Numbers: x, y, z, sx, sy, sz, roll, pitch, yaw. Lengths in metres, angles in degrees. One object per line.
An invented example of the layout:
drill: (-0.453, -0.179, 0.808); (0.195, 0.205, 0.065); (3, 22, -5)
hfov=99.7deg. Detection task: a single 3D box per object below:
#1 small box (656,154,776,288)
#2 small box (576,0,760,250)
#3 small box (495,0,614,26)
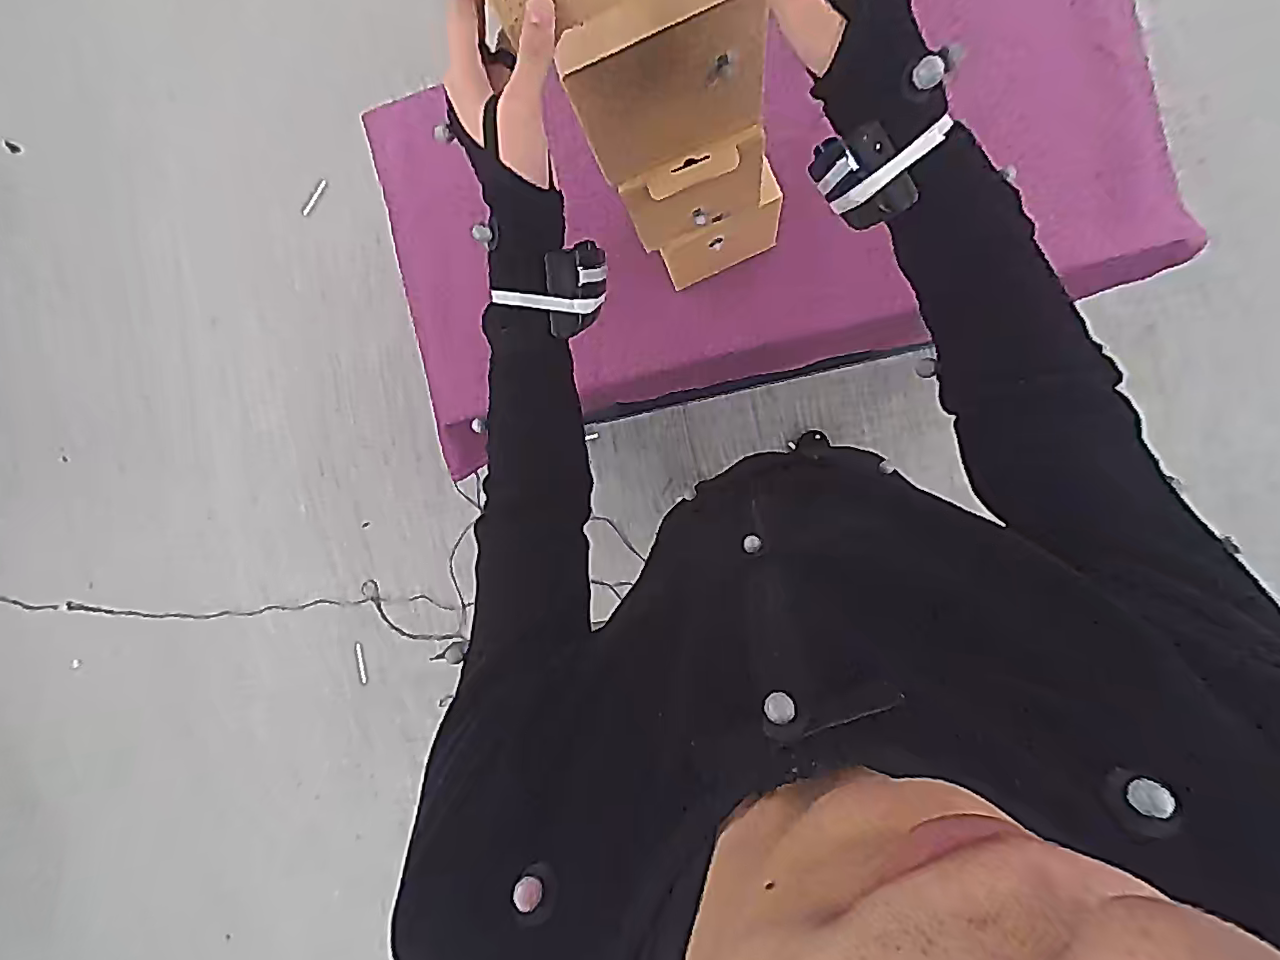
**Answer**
small box: (0.092, -0.422, 0.823); (0.179, 0.176, 0.168); (-23, 87, 9)
small box: (0.041, -0.420, 0.665); (0.168, 0.176, 0.179); (-17, 88, 11)
small box: (-0.039, -0.383, 0.271); (0.168, 0.176, 0.179); (-14, 74, 13)
